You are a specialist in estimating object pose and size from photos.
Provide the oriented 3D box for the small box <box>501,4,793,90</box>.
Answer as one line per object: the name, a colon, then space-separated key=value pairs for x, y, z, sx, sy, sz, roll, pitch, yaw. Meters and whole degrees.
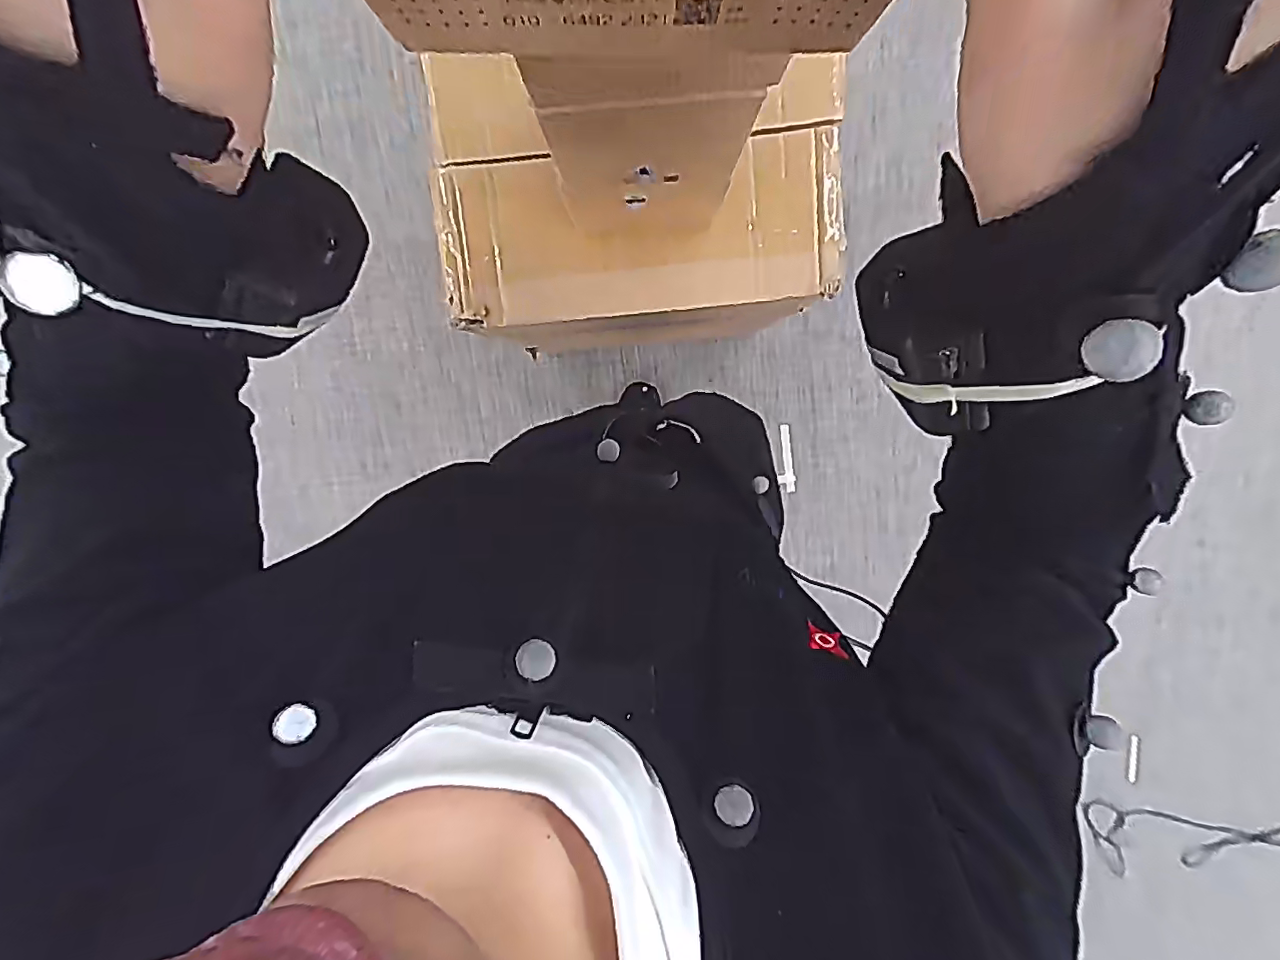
small box: x=0.005 y=-0.337 z=0.279 sx=0.179 sy=0.176 sz=0.168 roll=-4 pitch=100 yaw=2

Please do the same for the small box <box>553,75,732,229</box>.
small box: x=0.003 y=-0.392 z=0.604 sx=0.179 sy=0.176 sz=0.168 roll=-4 pitch=100 yaw=1

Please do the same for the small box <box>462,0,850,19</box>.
small box: x=-0.003 y=-0.224 z=0.095 sx=0.168 sy=0.176 sz=0.179 roll=-1 pitch=103 yaw=-1
